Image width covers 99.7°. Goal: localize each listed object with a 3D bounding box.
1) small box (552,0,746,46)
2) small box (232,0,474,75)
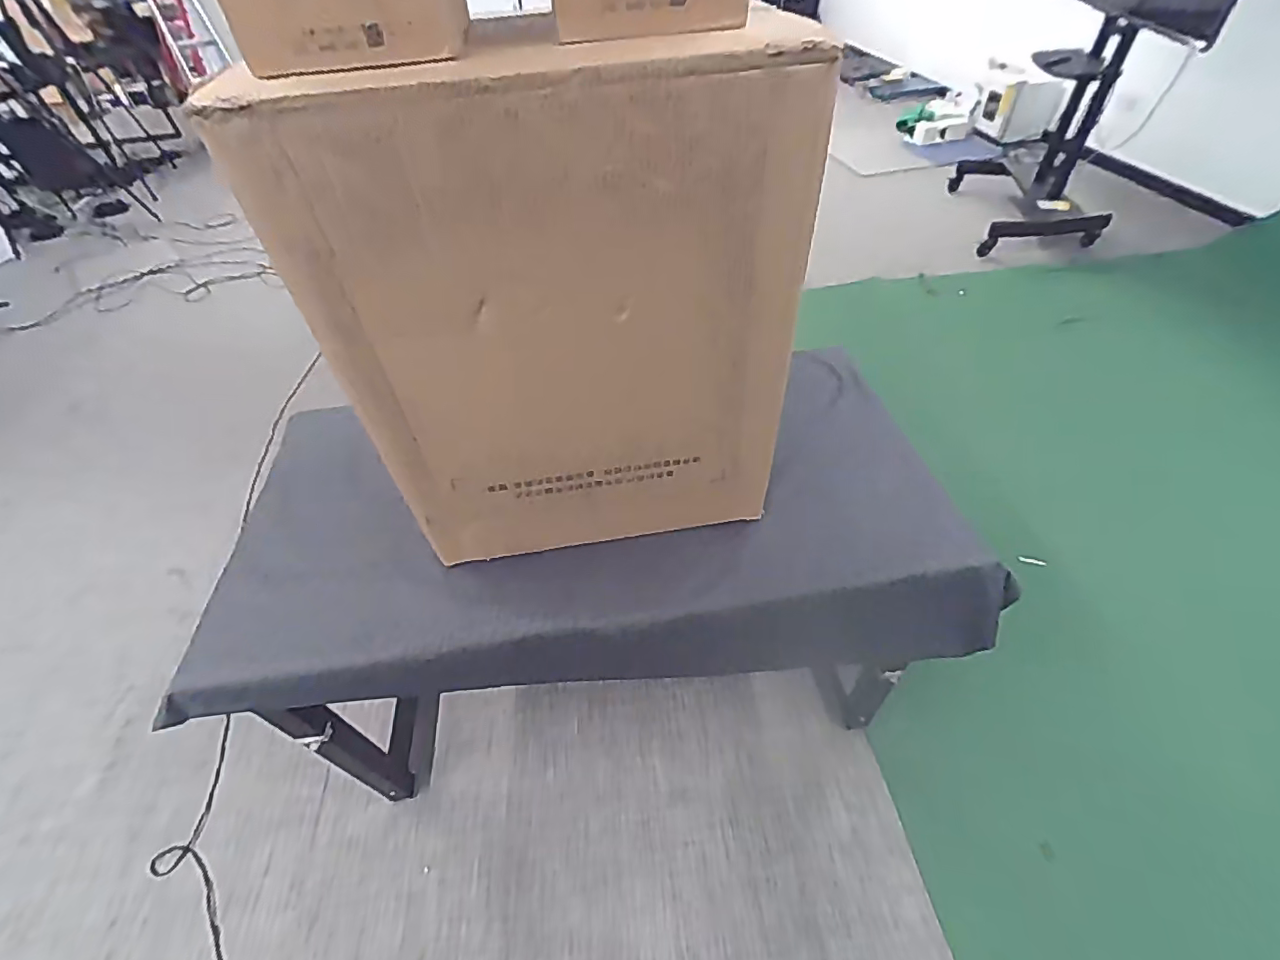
[{"bbox_3d":[0.000,-0.492,0.465,0.168,0.176,0.179,-6,47,-5],"label":"small box"},{"bbox_3d":[-0.240,-0.447,0.436,0.168,0.176,0.179,-8,49,-4],"label":"small box"}]
